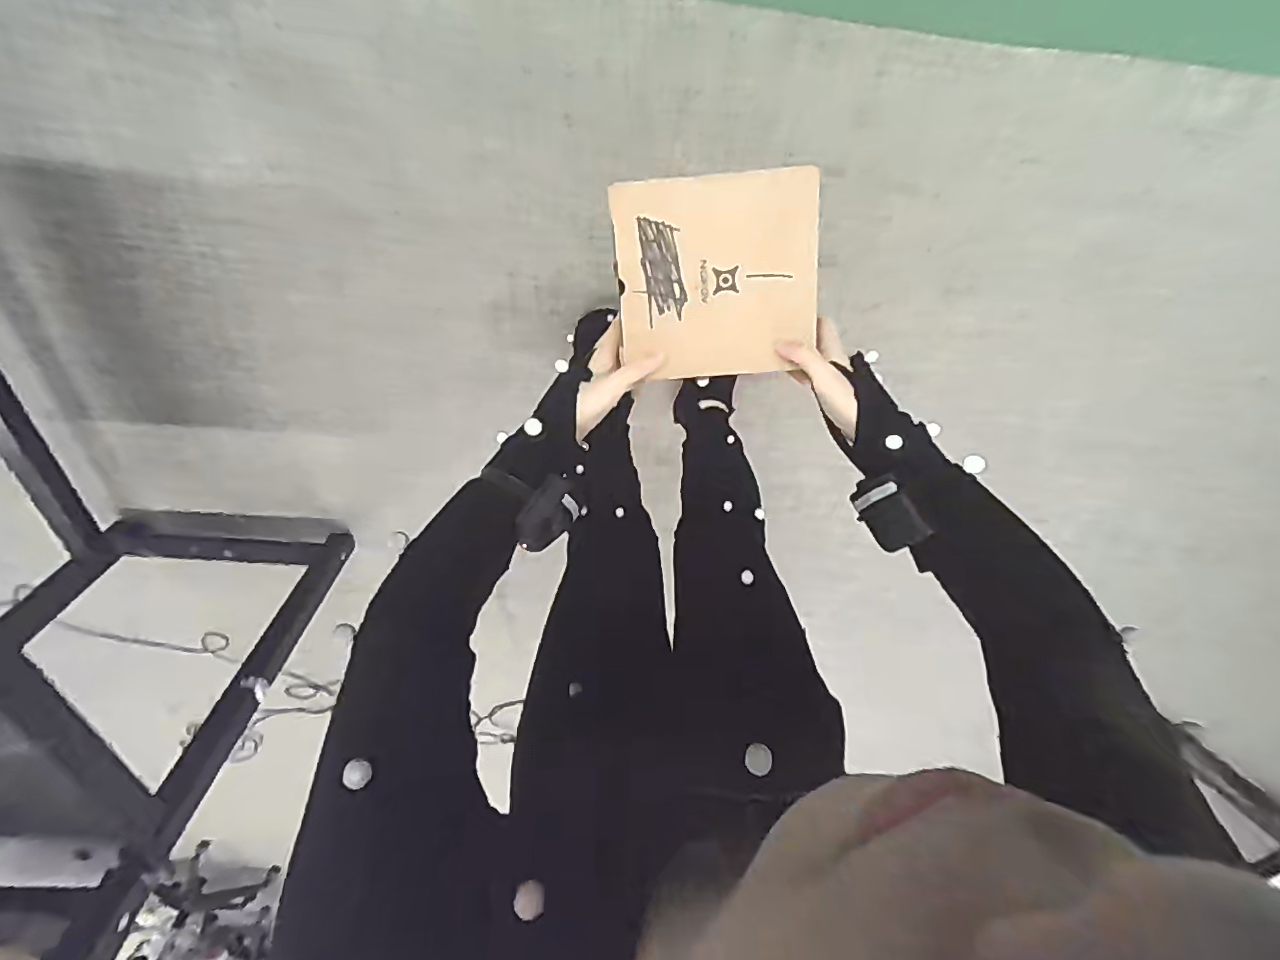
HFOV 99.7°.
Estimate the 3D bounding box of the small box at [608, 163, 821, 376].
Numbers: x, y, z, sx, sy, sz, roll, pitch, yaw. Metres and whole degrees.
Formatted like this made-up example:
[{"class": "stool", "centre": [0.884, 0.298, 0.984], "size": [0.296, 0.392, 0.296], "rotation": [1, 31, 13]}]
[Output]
[{"class": "small box", "centre": [0.070, -0.196, 0.540], "size": [0.179, 0.176, 0.168], "rotation": [-3, 106, 4]}]
